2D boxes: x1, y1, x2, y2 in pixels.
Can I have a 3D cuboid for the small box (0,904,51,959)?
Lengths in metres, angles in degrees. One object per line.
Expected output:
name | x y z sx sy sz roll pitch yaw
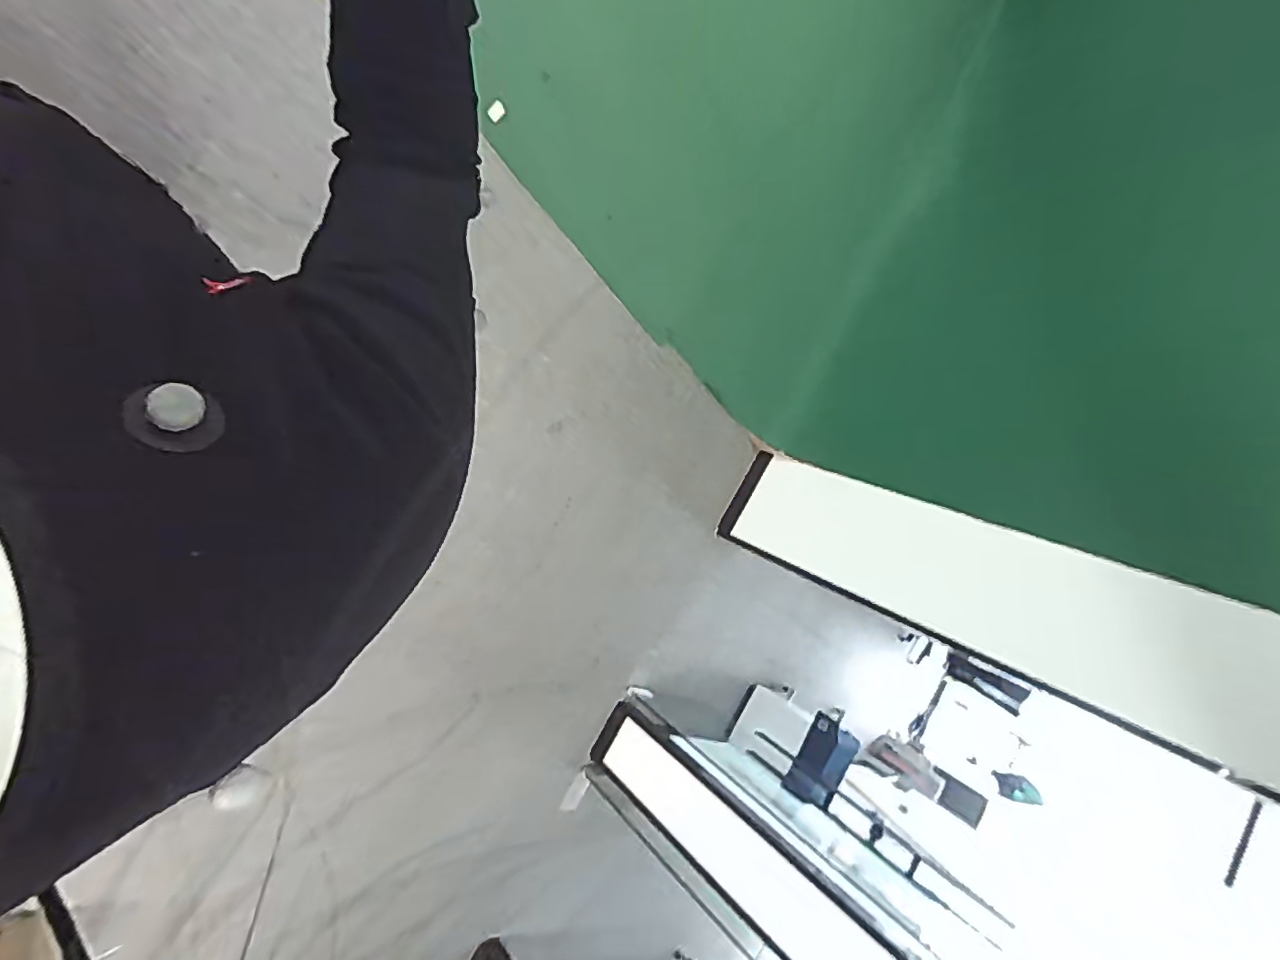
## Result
small box | -1.420 1.066 1.159 0.168 0.176 0.179 39 79 -47
